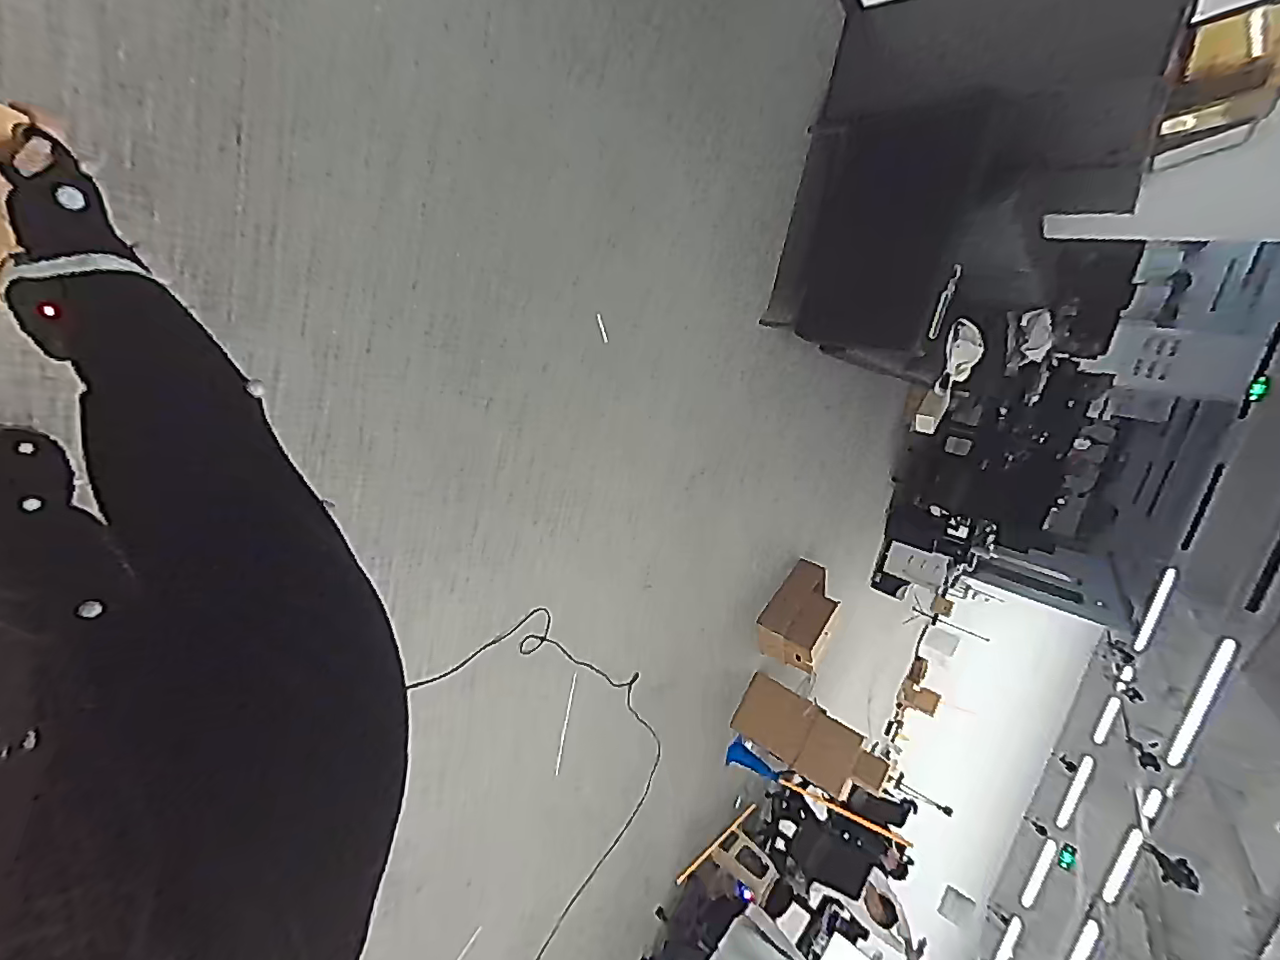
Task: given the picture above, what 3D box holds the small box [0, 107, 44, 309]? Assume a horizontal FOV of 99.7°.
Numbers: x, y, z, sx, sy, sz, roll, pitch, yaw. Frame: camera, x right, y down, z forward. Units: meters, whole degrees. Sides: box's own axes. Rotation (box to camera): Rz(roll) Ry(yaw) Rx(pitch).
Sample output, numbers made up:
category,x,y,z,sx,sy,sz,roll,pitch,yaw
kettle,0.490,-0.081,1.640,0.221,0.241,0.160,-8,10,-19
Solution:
category,x,y,z,sx,sy,sz,roll,pitch,yaw
small box,-0.638,-0.261,0.437,0.179,0.176,0.168,5,111,-58
